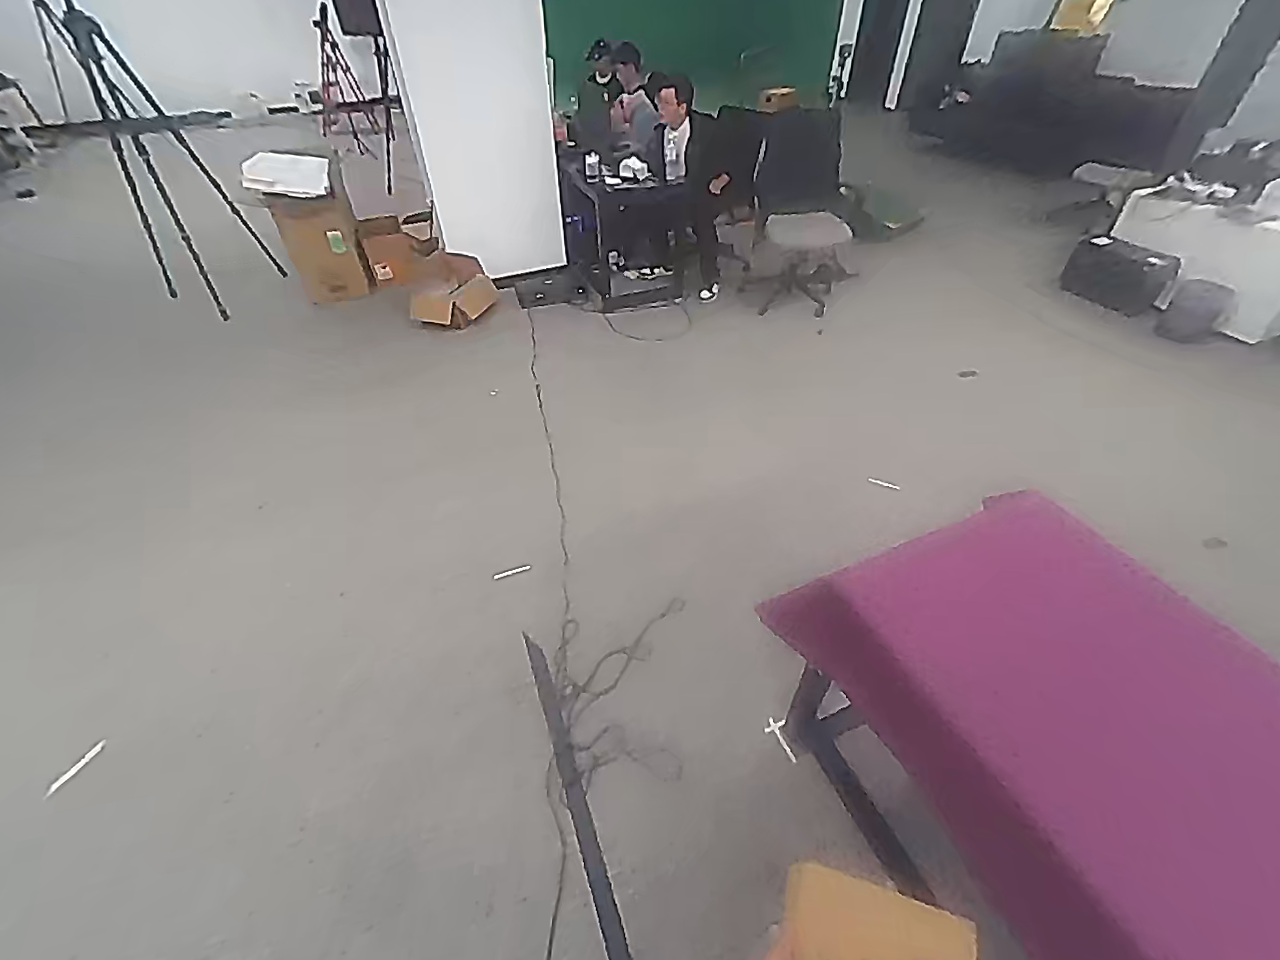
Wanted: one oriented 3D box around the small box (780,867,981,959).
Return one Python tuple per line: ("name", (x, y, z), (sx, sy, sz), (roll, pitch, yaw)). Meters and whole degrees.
("small box", (0.257, 0.565, 0.607), (0.179, 0.176, 0.168), (11, 54, 17))
